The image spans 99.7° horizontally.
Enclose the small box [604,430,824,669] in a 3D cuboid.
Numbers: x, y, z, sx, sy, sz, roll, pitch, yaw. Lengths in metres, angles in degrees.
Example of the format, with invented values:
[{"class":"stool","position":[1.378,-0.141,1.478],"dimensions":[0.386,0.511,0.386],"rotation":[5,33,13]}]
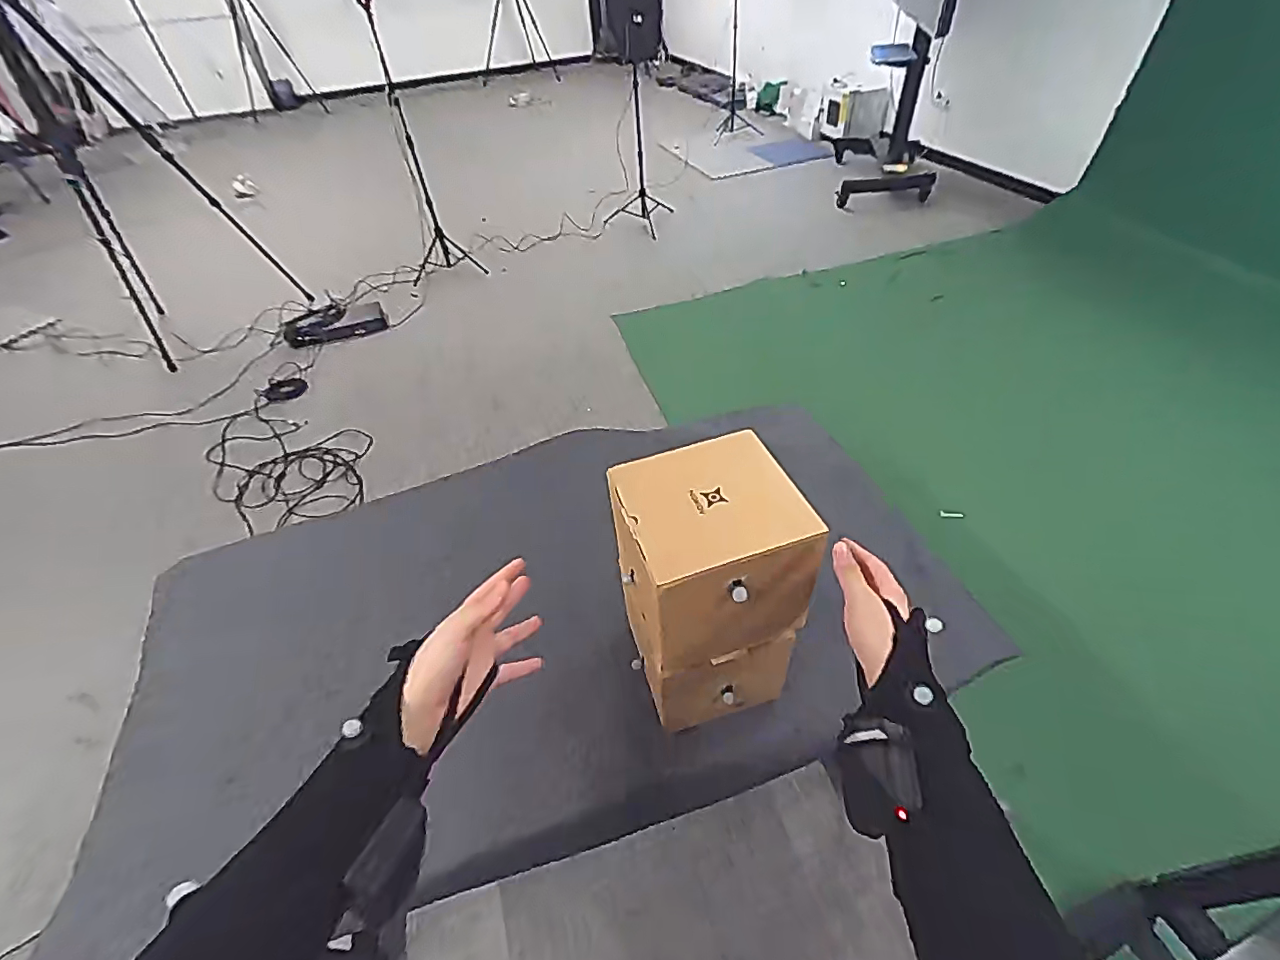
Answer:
[{"class":"small box","position":[0.072,0.077,0.596],"dimensions":[0.179,0.176,0.168],"rotation":[-17,45,-9]}]

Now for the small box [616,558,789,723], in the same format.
[{"class":"small box","position":[0.077,0.195,0.709],"dimensions":[0.168,0.176,0.179],"rotation":[-16,46,-8]}]
